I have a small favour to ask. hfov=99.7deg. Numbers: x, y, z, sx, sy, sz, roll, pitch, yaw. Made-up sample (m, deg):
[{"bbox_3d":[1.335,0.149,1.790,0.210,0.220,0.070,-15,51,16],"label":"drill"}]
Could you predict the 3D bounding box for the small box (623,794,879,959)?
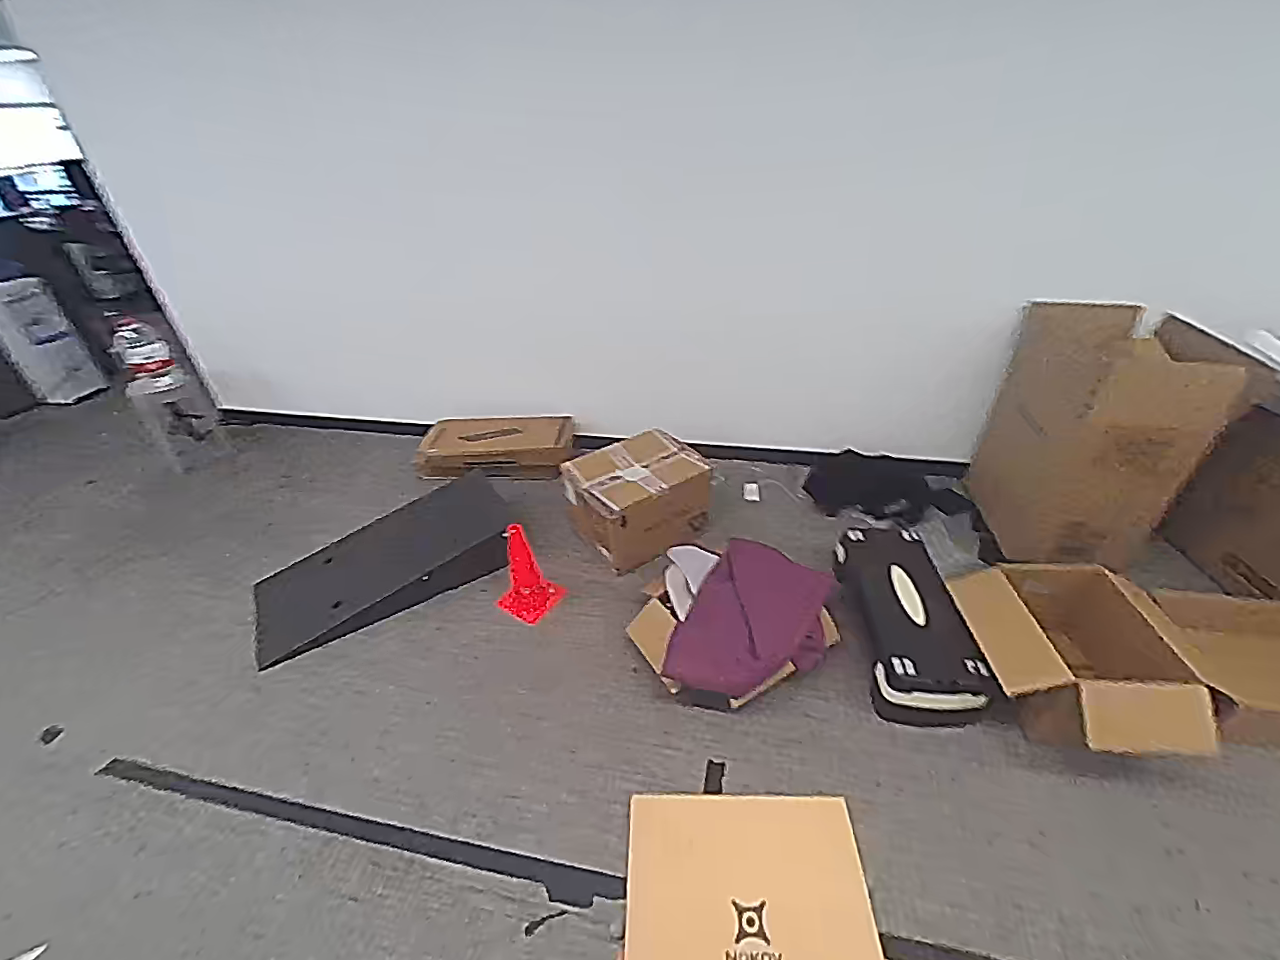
[{"bbox_3d":[0.075,0.363,0.402,0.168,0.176,0.179,-2,38,4],"label":"small box"}]
